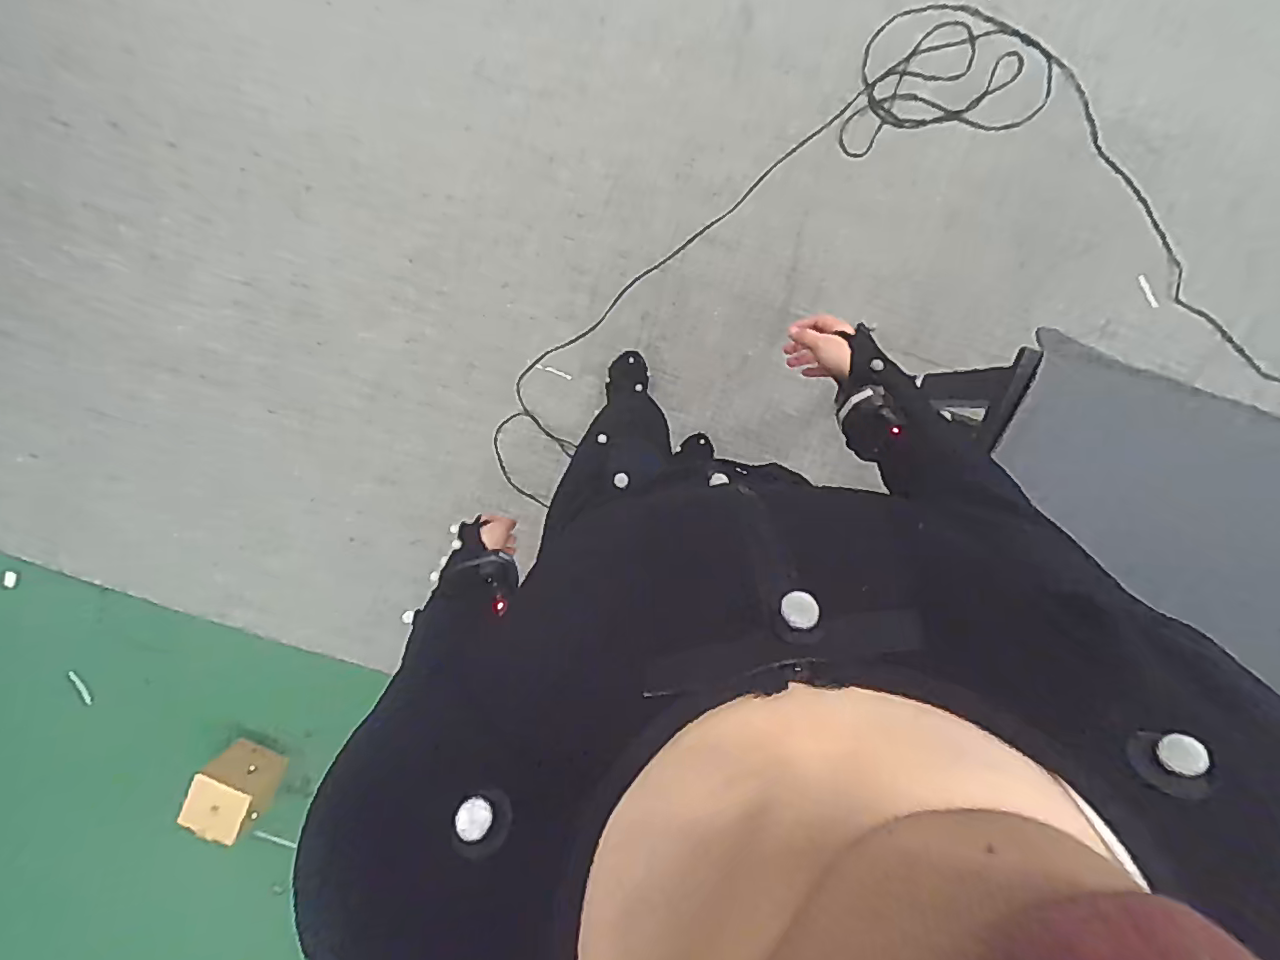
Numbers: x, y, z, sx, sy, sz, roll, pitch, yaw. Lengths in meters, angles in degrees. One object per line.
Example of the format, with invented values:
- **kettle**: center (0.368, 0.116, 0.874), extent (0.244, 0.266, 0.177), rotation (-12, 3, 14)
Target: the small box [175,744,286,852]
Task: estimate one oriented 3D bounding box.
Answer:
- **small box**: center (-1.165, 0.903, 1.554), extent (0.168, 0.176, 0.179), rotation (26, 98, -2)
